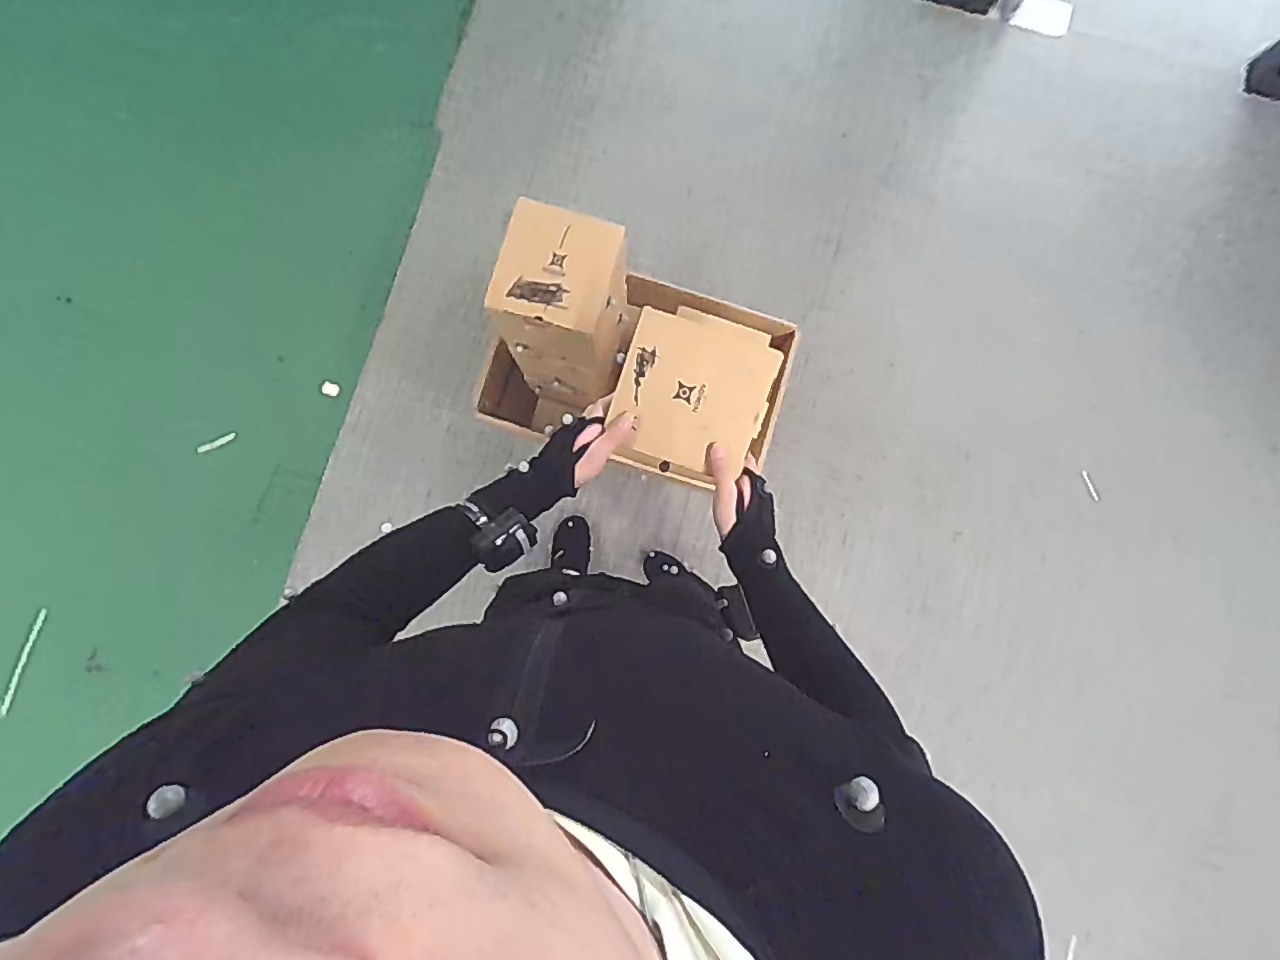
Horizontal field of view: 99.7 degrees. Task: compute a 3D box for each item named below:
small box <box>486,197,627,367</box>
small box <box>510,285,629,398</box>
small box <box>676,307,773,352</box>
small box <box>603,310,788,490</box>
[{"bbox_3d":[-0.121,-0.297,0.851,0.168,0.176,0.179,16,83,-1],"label":"small box"},{"bbox_3d":[-0.126,-0.274,1.014,0.168,0.176,0.179,17,84,0],"label":"small box"},{"bbox_3d":[0.123,-0.195,1.020,0.179,0.176,0.168,19,86,-1],"label":"small box"},{"bbox_3d":[0.065,-0.097,0.707,0.179,0.176,0.168,19,92,0],"label":"small box"}]
